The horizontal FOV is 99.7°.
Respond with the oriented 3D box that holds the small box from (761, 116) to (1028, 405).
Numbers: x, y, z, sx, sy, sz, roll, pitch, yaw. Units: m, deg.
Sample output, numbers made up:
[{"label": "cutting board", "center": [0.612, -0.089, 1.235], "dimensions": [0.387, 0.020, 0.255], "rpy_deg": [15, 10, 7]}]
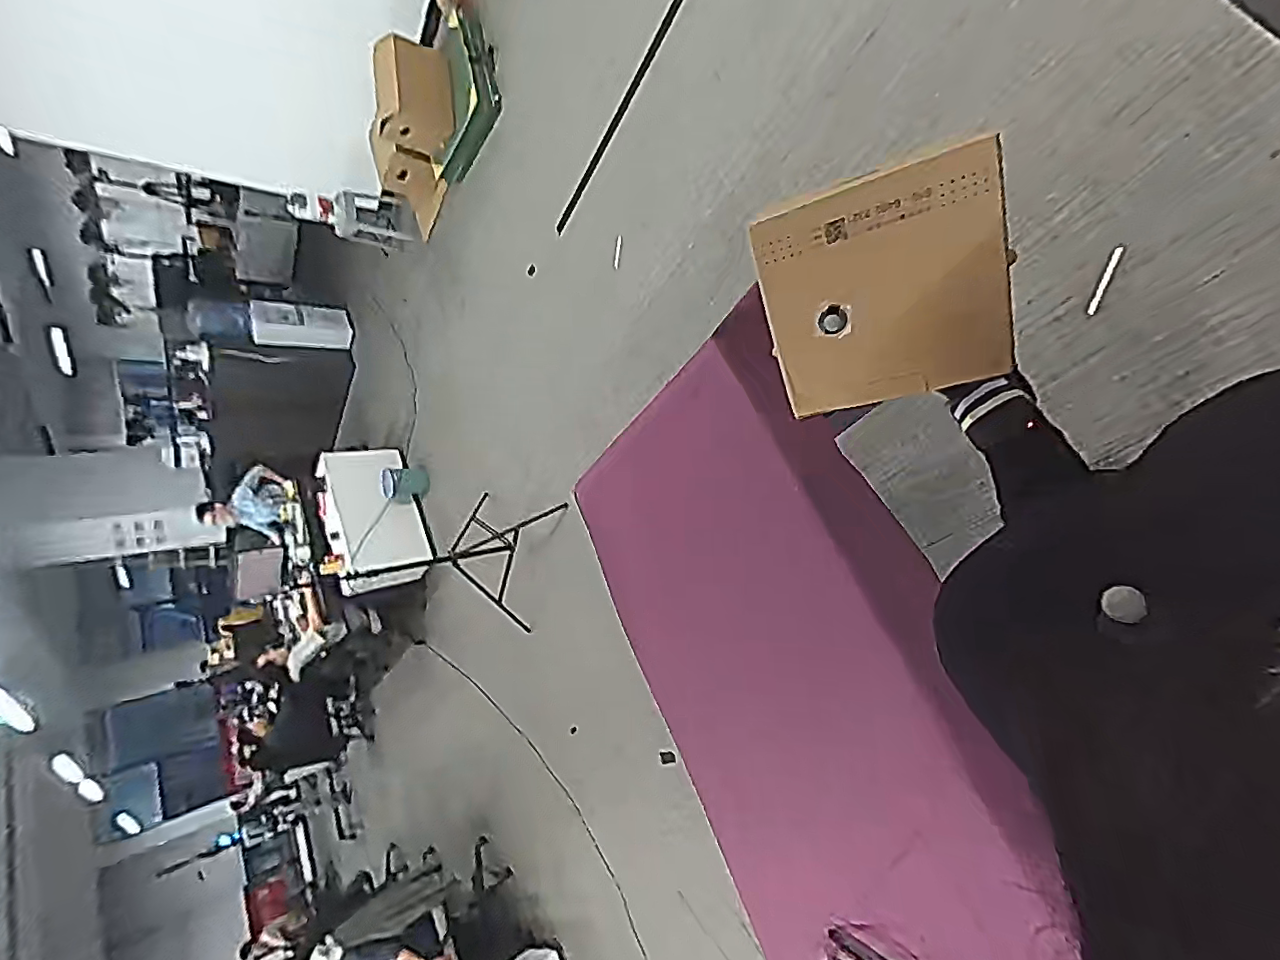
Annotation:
[{"label": "small box", "center": [0.211, -0.190, 0.467], "dimensions": [0.168, 0.179, 0.176], "rpy_deg": [-9, 118, 26]}]
